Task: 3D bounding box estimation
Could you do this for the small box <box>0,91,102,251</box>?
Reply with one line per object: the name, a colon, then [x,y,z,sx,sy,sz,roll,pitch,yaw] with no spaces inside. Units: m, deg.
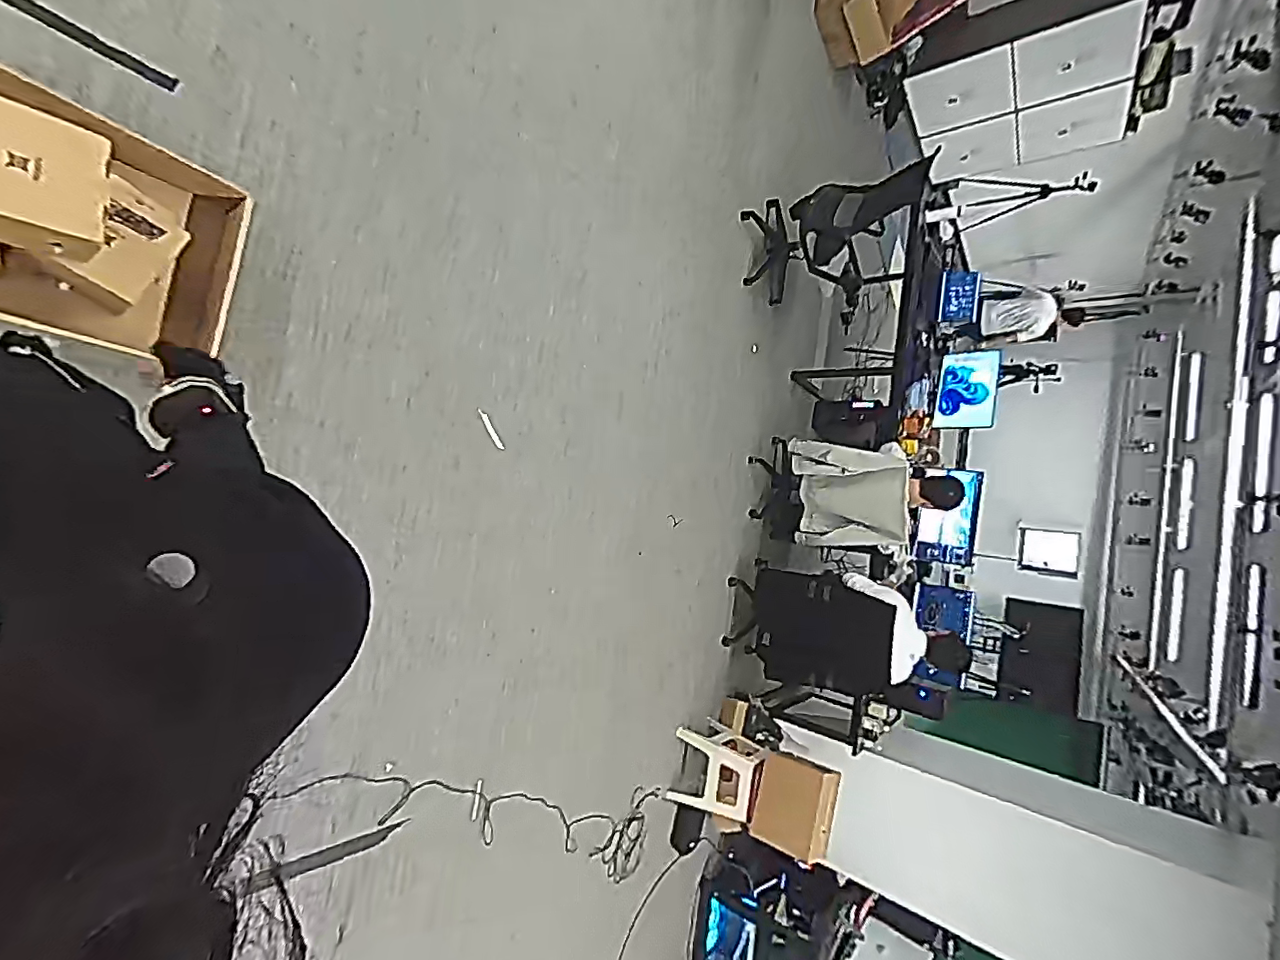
small box: [-0.940,-0.457,0.800,0.179,0.176,0.168,4,90,-53]
